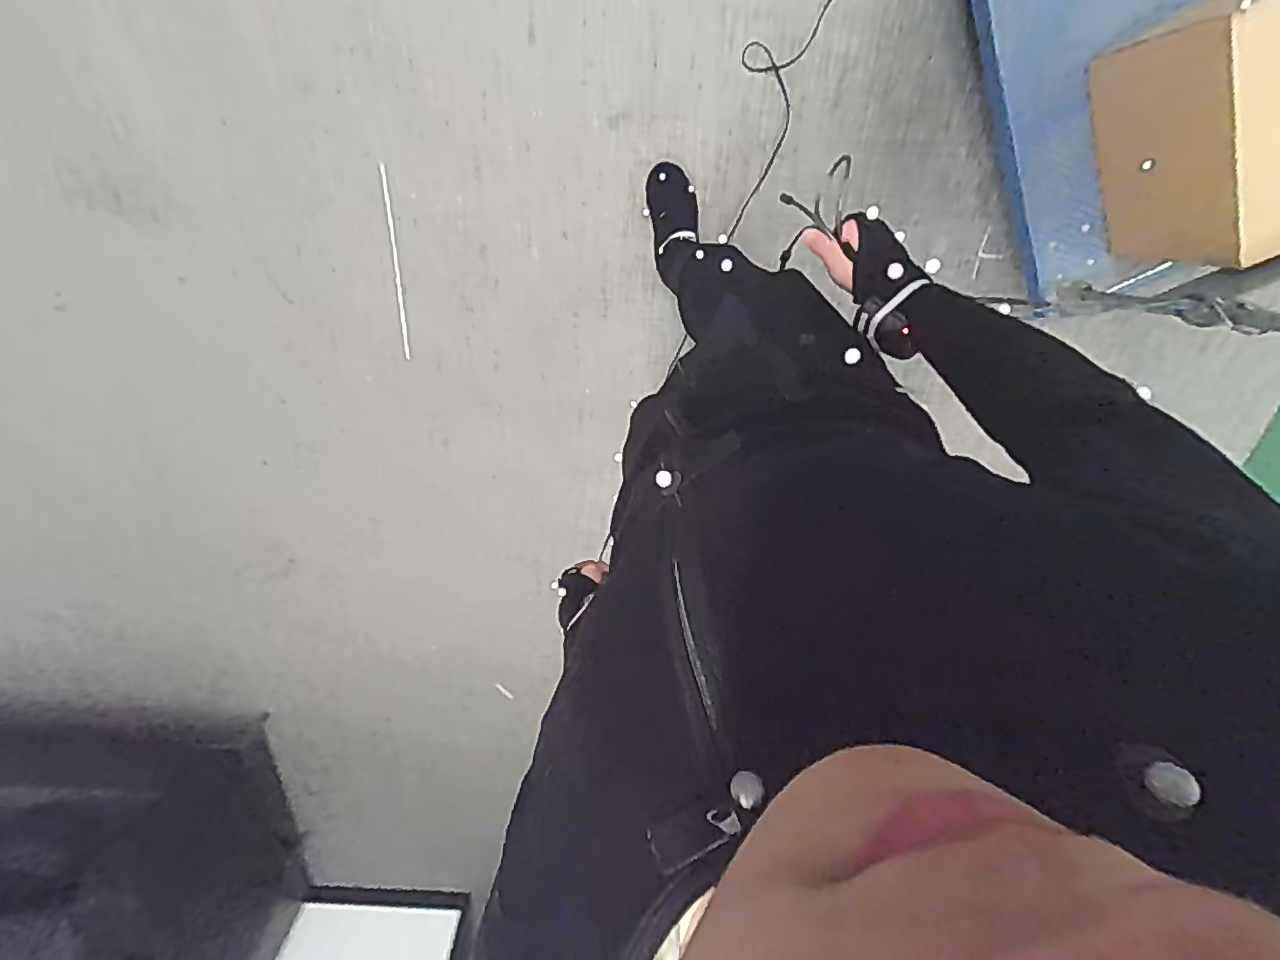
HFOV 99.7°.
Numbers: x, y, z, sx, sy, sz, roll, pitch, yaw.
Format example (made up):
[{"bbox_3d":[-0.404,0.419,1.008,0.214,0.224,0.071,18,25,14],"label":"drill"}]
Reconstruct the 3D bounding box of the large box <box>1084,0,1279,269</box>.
[{"bbox_3d":[1.092,-0.653,0.976,0.320,0.320,0.408,-24,113,13],"label":"large box"}]
